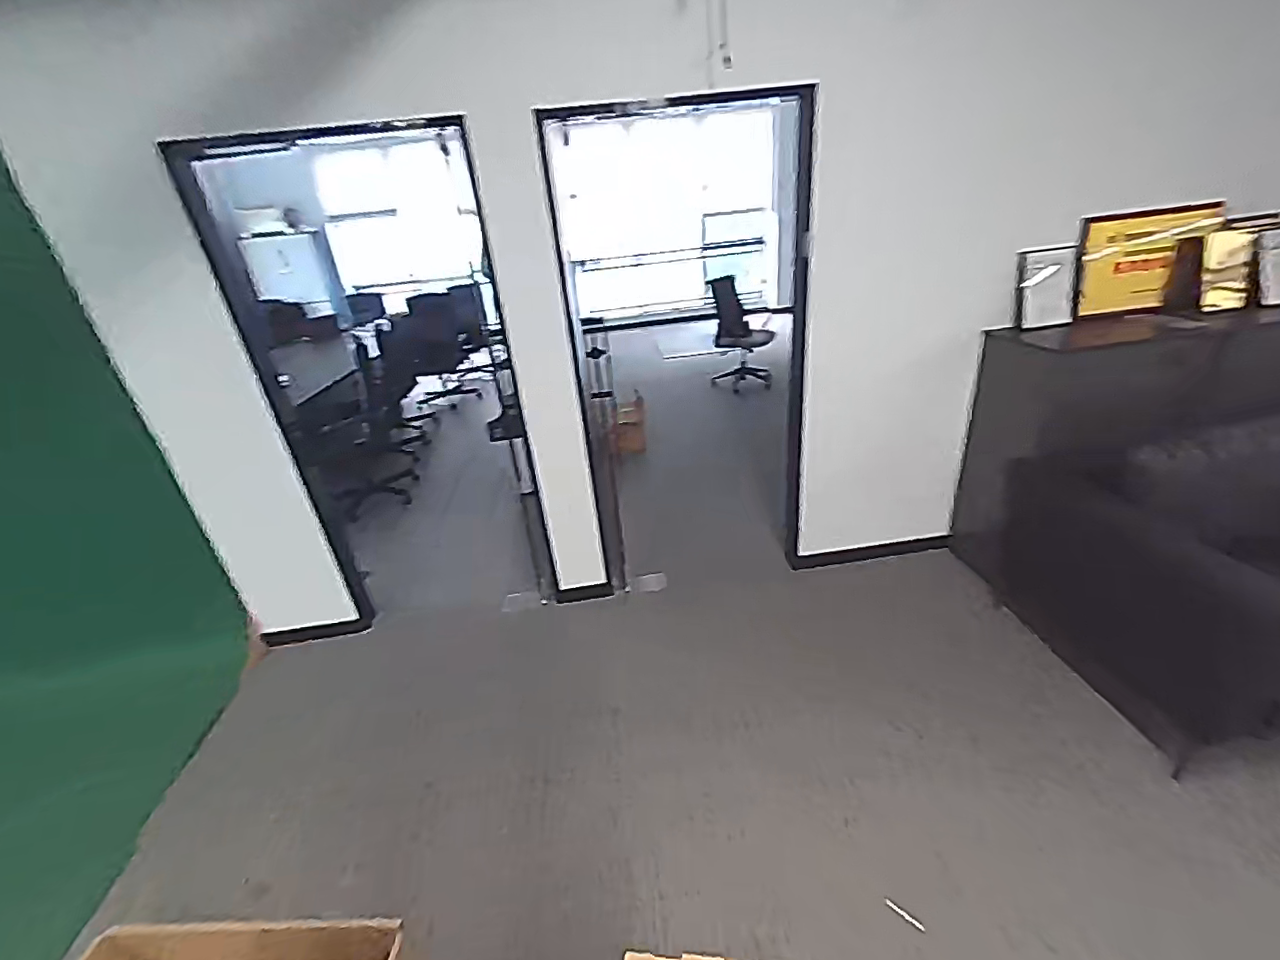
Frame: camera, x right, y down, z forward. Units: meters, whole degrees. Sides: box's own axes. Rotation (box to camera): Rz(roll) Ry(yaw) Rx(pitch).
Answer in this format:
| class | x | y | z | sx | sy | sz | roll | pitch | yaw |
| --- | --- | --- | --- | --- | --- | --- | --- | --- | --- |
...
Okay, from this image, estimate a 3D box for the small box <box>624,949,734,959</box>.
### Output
| class | x | y | z | sx | sy | sz | roll | pitch | yaw |
| --- | --- | --- | --- | --- | --- | --- | --- | --- | --- |
| small box | 0.058 | 0.599 | 0.509 | 0.168 | 0.176 | 0.179 | 0 | 23 | 6 |
